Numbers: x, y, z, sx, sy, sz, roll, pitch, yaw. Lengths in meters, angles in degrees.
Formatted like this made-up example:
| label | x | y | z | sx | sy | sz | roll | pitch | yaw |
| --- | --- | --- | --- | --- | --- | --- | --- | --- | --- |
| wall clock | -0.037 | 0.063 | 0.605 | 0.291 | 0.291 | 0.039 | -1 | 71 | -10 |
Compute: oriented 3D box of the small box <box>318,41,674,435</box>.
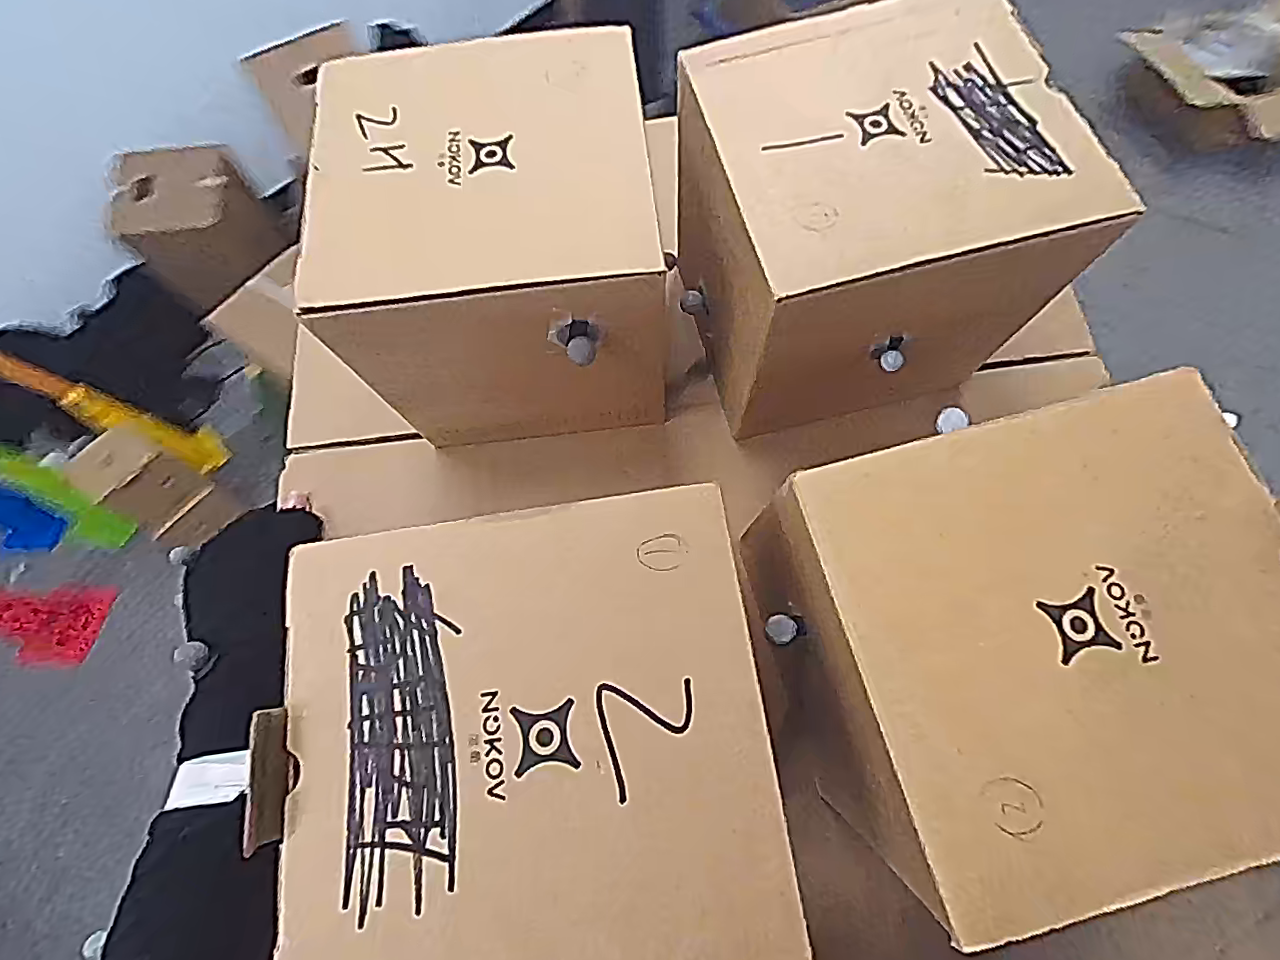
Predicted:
| label | x | y | z | sx | sy | sz | roll | pitch | yaw |
| --- | --- | --- | --- | --- | --- | --- | --- | --- | --- |
| small box | -0.072 | -0.140 | 0.361 | 0.179 | 0.176 | 0.168 | -5 | 71 | 2 |
